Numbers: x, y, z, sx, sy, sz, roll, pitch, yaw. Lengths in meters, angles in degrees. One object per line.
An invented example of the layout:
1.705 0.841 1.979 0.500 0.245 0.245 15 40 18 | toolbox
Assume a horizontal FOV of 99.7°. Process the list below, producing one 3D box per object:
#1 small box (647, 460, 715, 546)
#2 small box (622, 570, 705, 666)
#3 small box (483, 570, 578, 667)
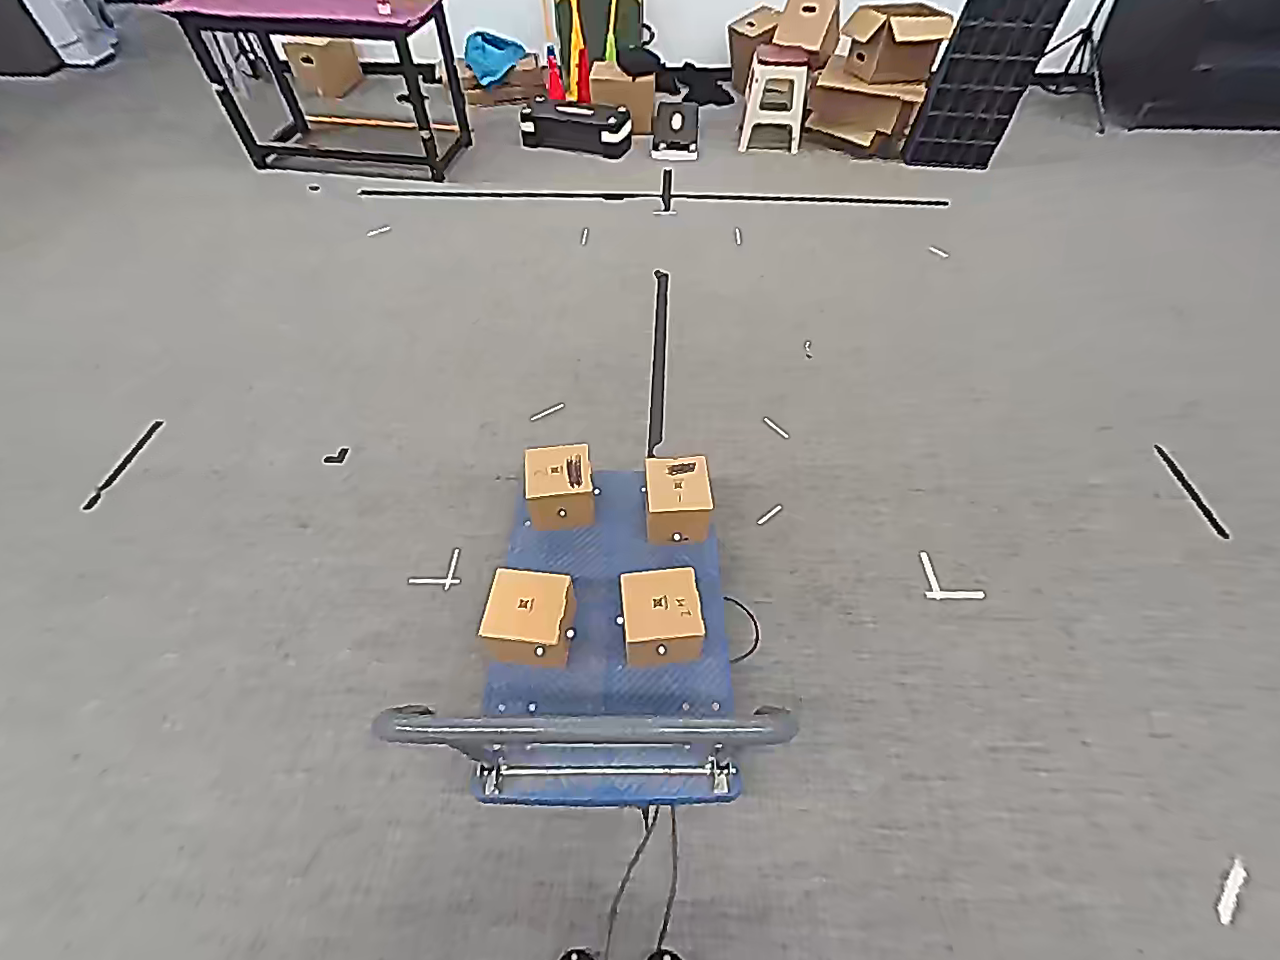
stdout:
0.106 0.064 1.490 0.168 0.176 0.179 -2 54 -2 | small box
0.052 0.332 1.287 0.179 0.176 0.168 -4 53 -3 | small box
-0.252 0.333 1.286 0.179 0.176 0.168 6 53 2 | small box
